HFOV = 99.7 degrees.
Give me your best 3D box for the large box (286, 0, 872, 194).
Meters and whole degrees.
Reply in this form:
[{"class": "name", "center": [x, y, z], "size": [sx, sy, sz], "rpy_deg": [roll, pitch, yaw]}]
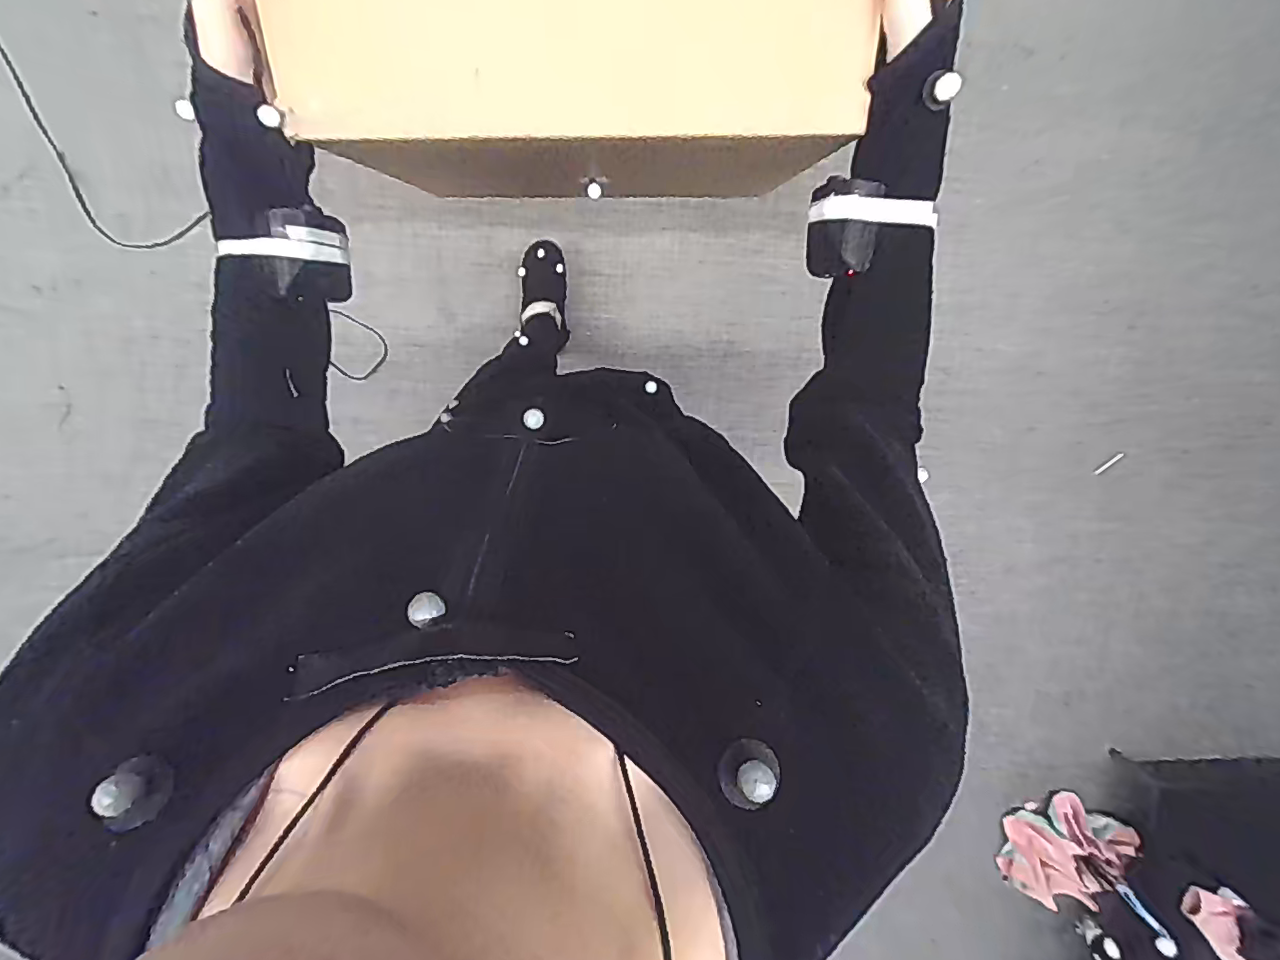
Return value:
[{"class": "large box", "center": [-0.041, -0.447, 0.479], "size": [0.408, 0.320, 0.320], "rpy_deg": [-1, 110, 0]}]
